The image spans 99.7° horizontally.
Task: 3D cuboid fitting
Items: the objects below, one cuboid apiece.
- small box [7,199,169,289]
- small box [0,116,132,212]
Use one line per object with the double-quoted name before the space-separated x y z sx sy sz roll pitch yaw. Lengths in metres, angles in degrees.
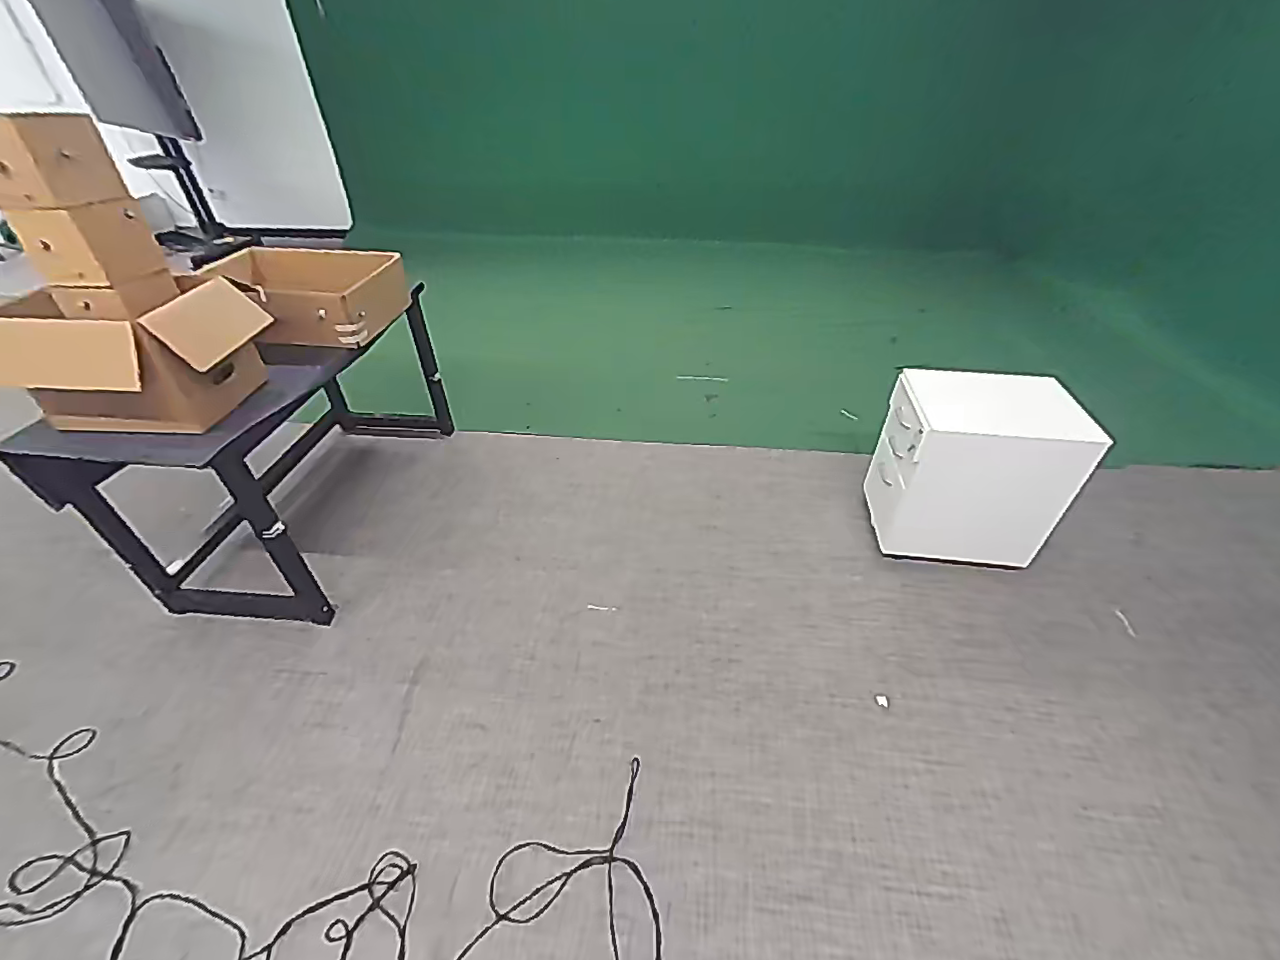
"small box" -1.290 -0.559 1.283 0.168 0.176 0.179 2 35 6
"small box" -1.298 -0.693 1.189 0.168 0.176 0.179 3 35 7
